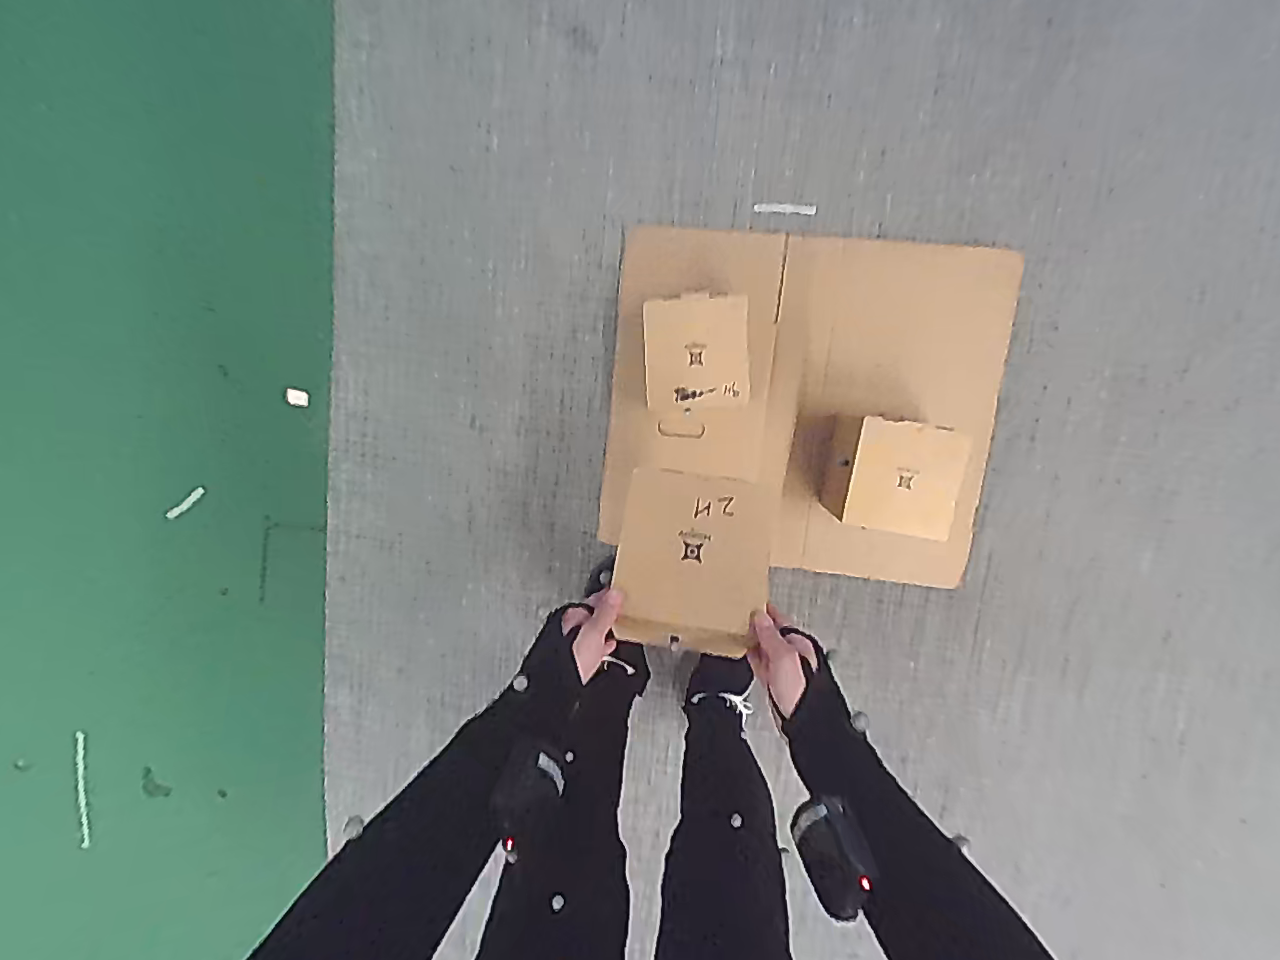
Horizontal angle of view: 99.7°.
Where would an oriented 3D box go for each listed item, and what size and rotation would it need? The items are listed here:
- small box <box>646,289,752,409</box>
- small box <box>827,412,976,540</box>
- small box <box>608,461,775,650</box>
[{"bbox_3d":[0.100,-0.214,0.924,0.168,0.176,0.179,-1,97,7],"label":"small box"},{"bbox_3d":[0.422,-0.016,0.906,0.168,0.176,0.179,10,98,6],"label":"small box"},{"bbox_3d":[0.062,0.100,0.662,0.168,0.176,0.179,8,65,5],"label":"small box"}]
